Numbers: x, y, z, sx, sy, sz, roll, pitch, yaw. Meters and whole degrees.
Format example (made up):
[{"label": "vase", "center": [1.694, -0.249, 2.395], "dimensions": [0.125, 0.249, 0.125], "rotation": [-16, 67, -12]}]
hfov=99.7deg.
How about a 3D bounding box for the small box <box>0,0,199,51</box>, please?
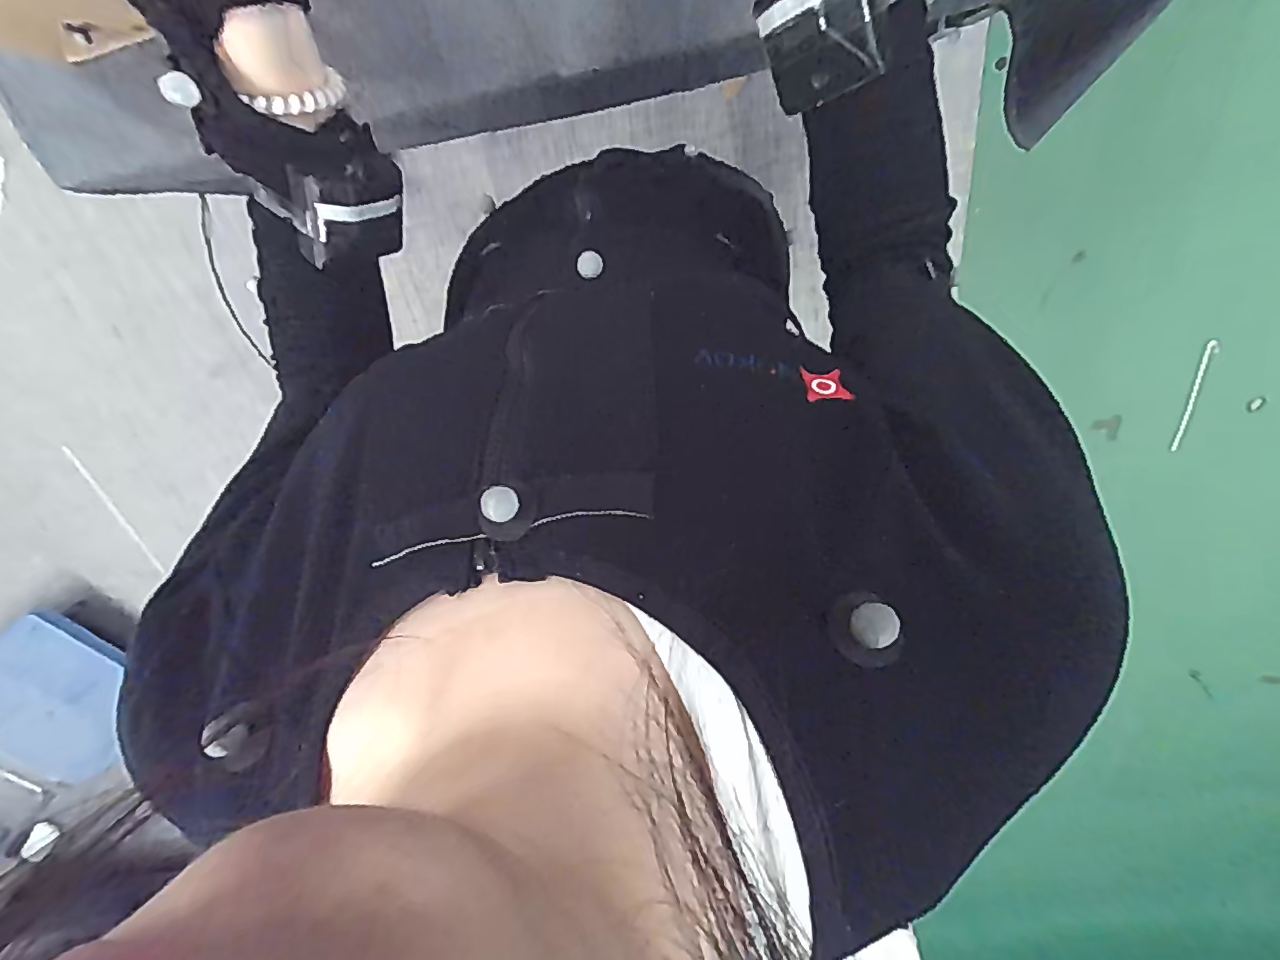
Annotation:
[{"label": "small box", "center": [-0.518, -0.477, 0.424], "dimensions": [0.168, 0.176, 0.179], "rotation": [-10, 119, 6]}]
